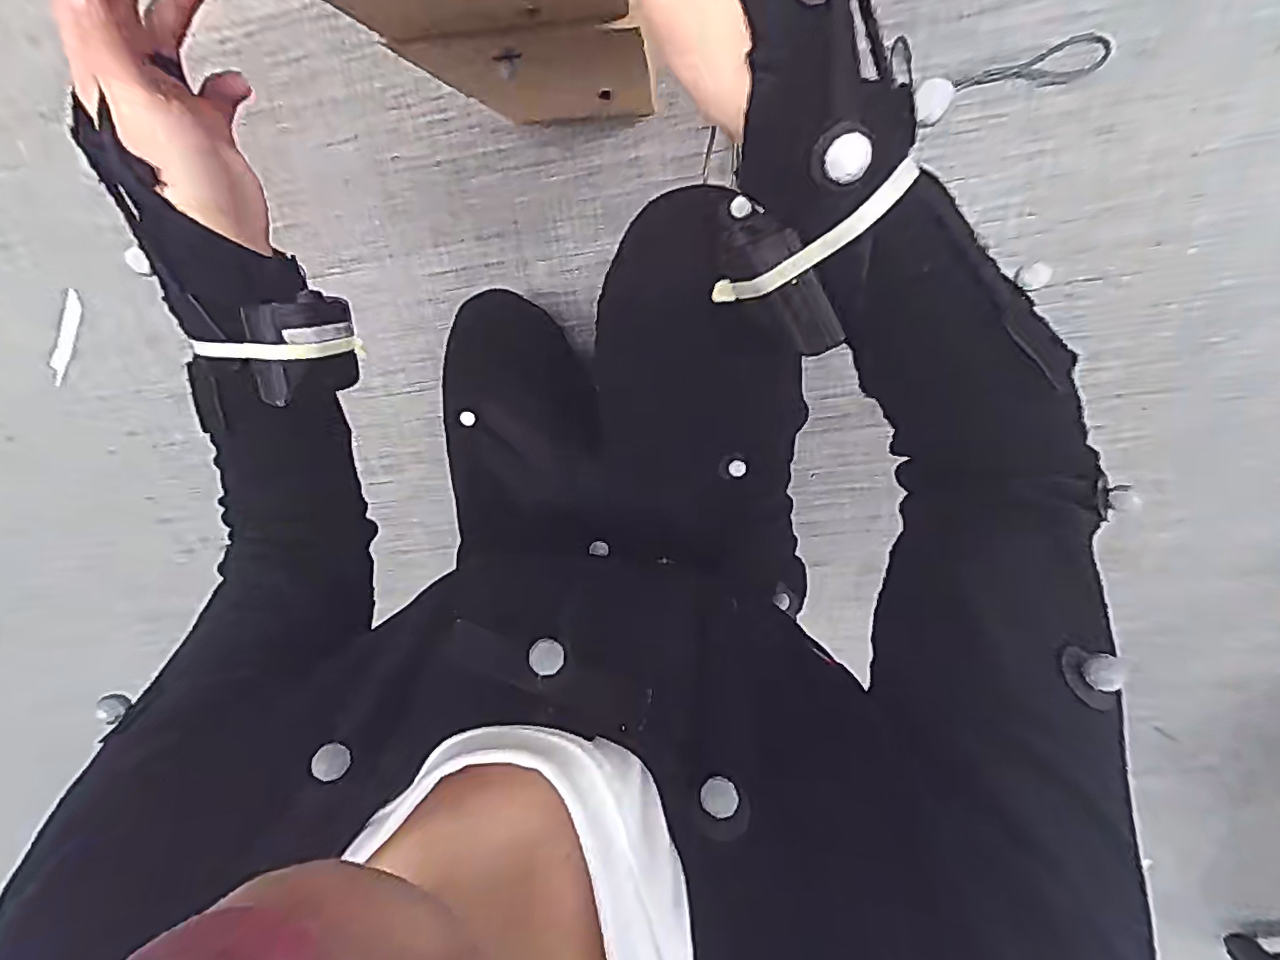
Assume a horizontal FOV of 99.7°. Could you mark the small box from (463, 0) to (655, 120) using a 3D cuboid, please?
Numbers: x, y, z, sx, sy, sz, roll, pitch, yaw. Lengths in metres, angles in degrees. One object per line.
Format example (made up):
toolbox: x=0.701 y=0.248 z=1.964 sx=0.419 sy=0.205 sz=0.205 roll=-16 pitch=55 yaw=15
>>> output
small box: x=-0.074 y=-0.467 z=0.528 sx=0.179 sy=0.176 sz=0.168 roll=-1 pitch=114 yaw=4

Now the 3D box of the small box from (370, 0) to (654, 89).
small box: x=-0.081 y=-0.395 z=0.381 sx=0.179 sy=0.176 sz=0.168 roll=-1 pitch=115 yaw=3
